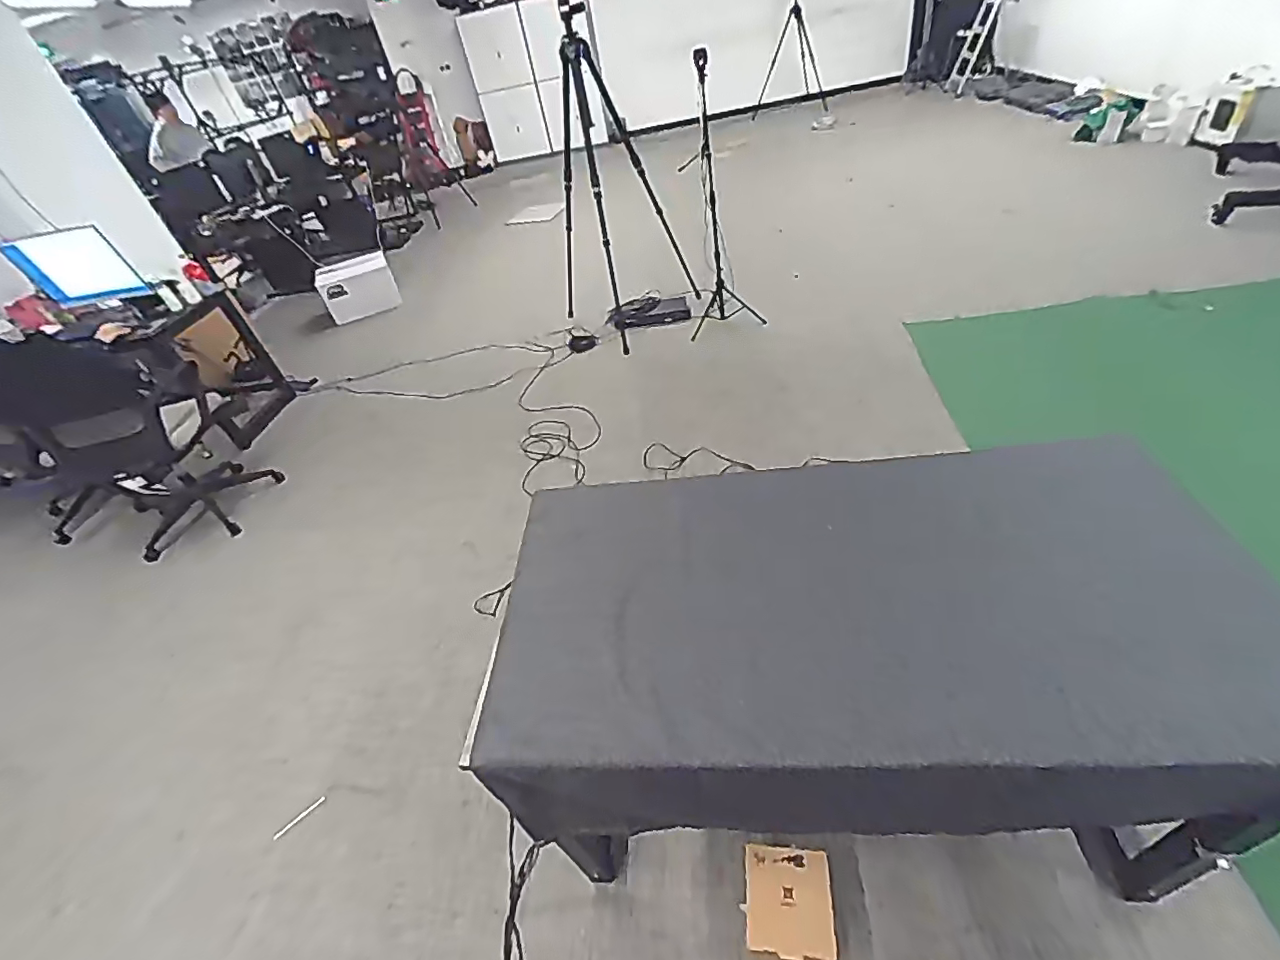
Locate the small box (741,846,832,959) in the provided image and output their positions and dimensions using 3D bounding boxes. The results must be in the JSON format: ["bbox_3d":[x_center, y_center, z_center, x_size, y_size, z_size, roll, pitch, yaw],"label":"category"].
[{"bbox_3d":[0.296,0.880,1.103,0.168,0.176,0.179,-3,41,13],"label":"small box"}]
